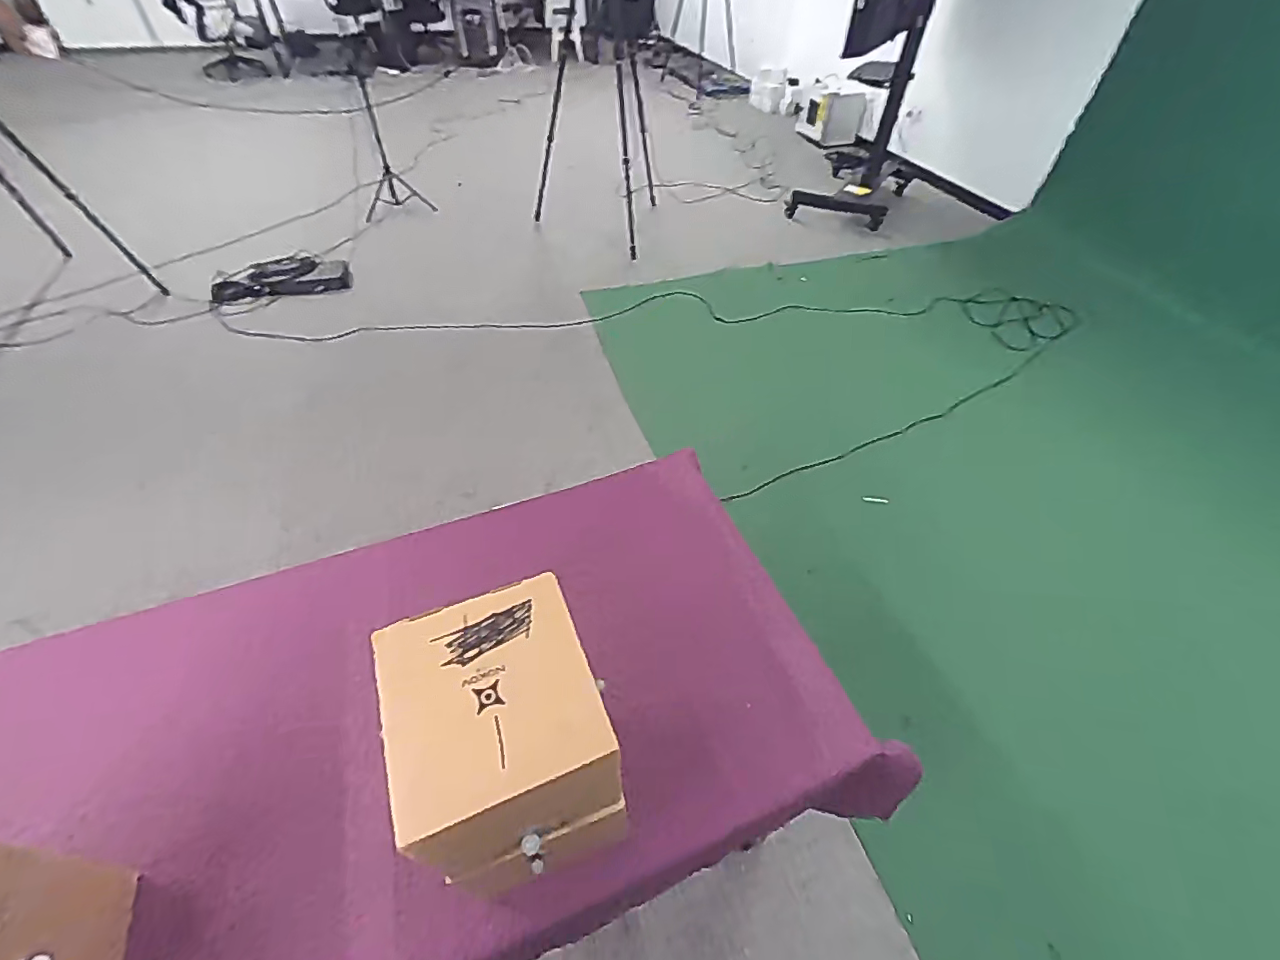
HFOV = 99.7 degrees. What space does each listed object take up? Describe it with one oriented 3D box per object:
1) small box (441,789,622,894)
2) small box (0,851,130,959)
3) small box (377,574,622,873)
[{"bbox_3d":[-0.125,0.339,0.616,0.179,0.176,0.168,-15,51,-15],"label":"small box"},{"bbox_3d":[-0.611,0.472,0.479,0.168,0.176,0.179,-15,51,-16],"label":"small box"},{"bbox_3d":[-0.125,0.223,0.500,0.168,0.176,0.179,-18,51,-17],"label":"small box"}]
